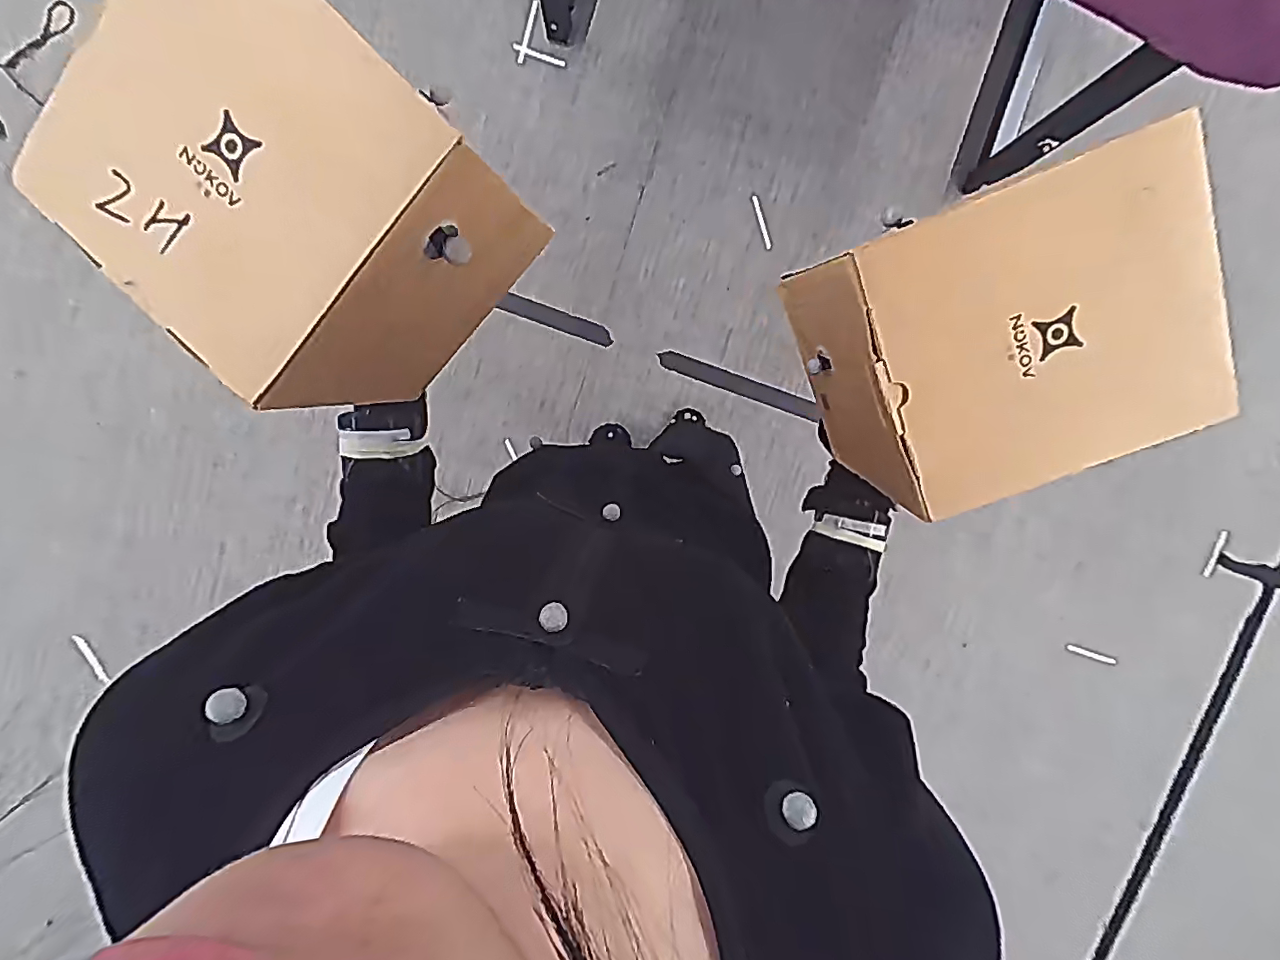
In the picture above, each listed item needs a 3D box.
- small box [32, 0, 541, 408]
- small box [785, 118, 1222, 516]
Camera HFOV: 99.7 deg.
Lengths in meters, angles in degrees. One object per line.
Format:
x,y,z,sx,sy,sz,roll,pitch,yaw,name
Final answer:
-0.183,-0.167,0.339,0.168,0.176,0.179,44,102,-3,small box
0.224,-0.103,0.375,0.179,0.176,0.168,-22,104,7,small box
